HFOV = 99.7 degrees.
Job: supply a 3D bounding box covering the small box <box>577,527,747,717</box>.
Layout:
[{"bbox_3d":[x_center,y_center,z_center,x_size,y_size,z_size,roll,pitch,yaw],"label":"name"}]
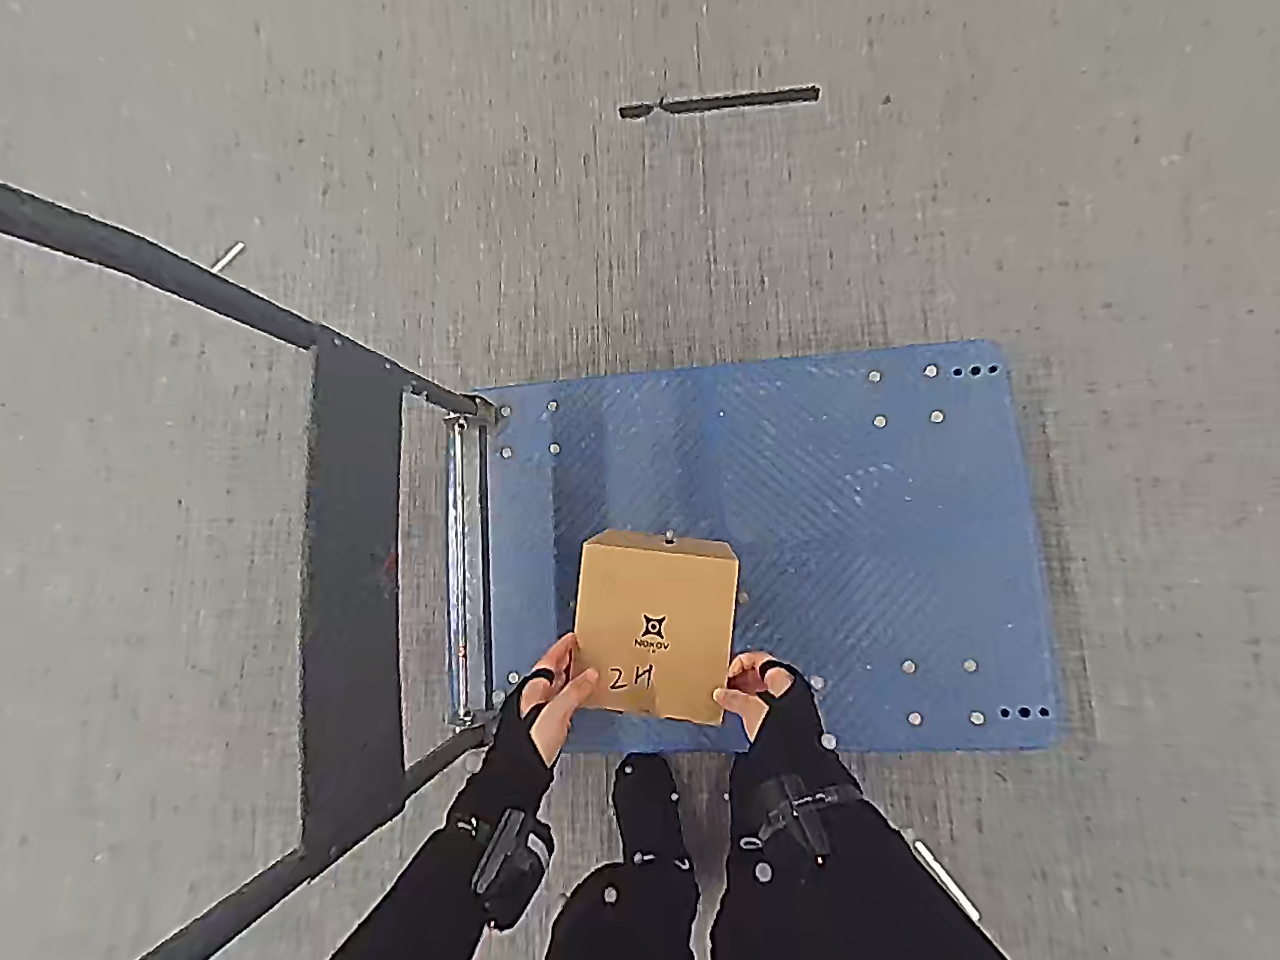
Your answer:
[{"bbox_3d":[0.028,0.154,0.649,0.168,0.176,0.179,6,90,5],"label":"small box"}]
